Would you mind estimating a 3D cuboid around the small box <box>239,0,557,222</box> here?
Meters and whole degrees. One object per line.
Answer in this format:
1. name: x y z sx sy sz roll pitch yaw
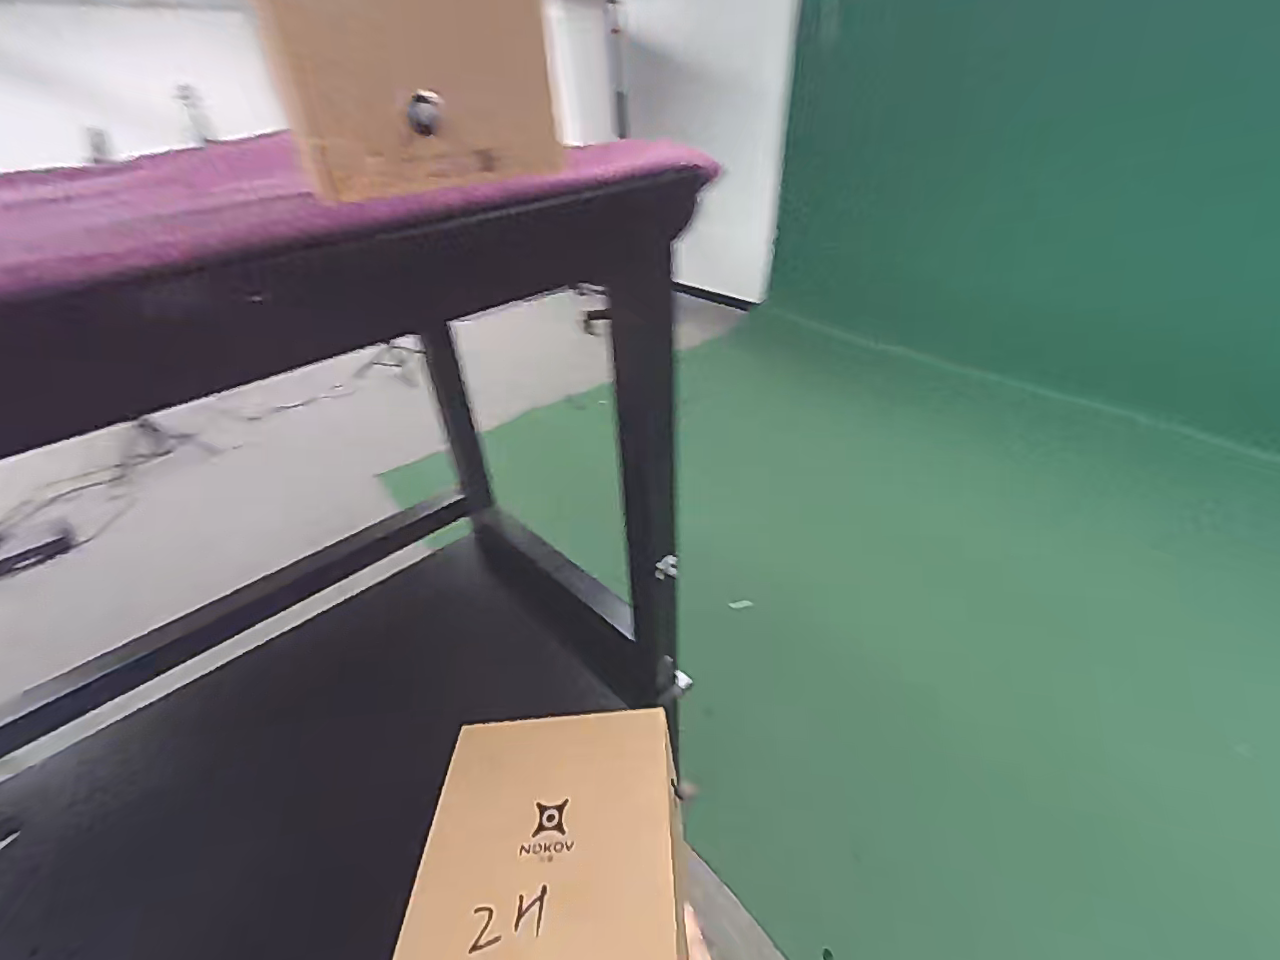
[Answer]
1. small box: -0.175 -0.297 0.392 0.168 0.176 0.179 -23 43 -24
